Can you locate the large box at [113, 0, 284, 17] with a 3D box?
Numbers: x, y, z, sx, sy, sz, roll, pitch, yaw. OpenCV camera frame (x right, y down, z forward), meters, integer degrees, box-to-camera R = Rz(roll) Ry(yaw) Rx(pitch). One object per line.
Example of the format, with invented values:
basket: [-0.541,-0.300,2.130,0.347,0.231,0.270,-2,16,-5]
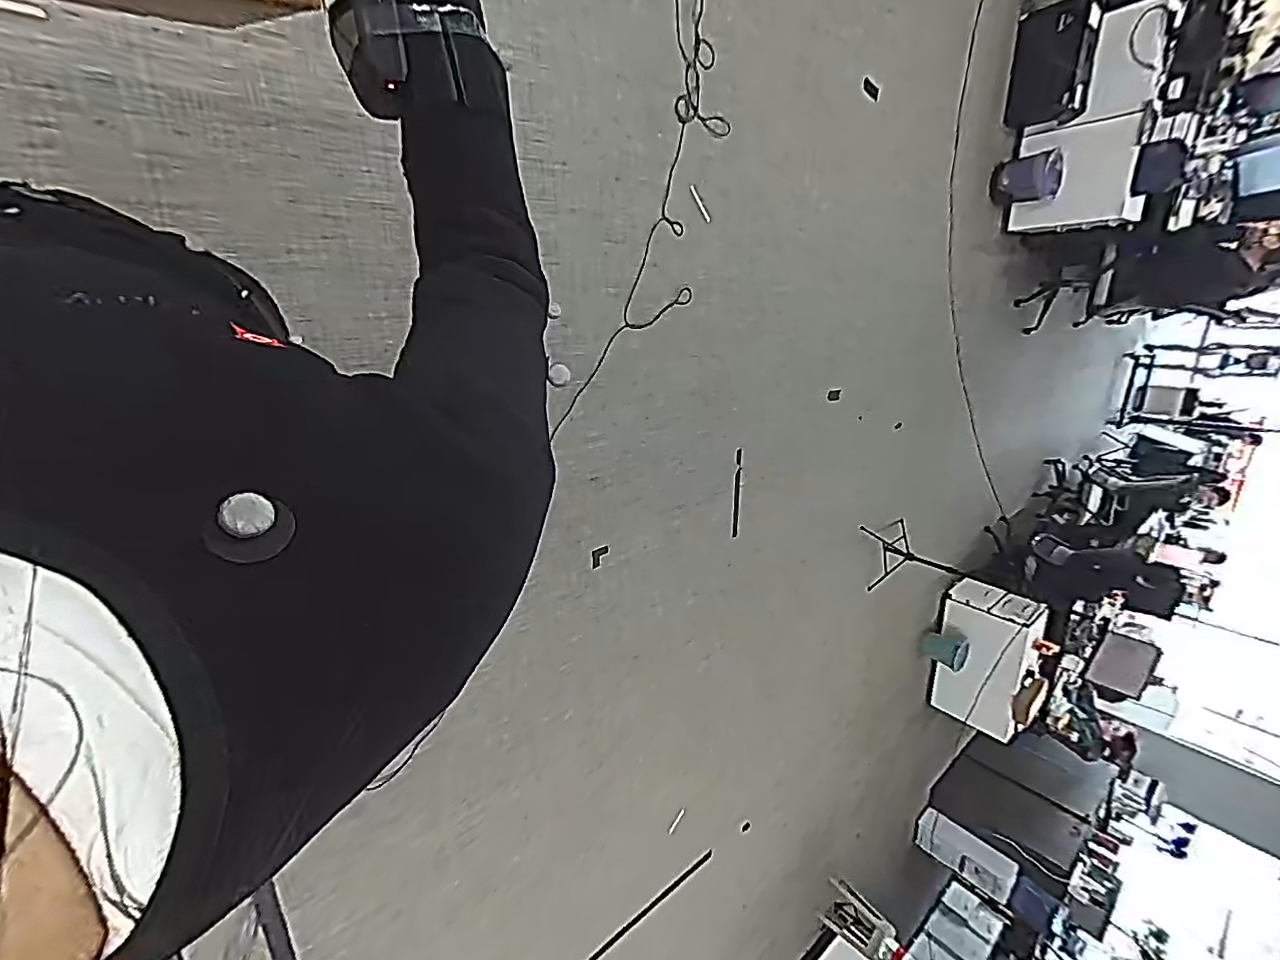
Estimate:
large box: [-0.429,-0.430,0.223,0.408,0.320,0.320,-21,134,-36]
